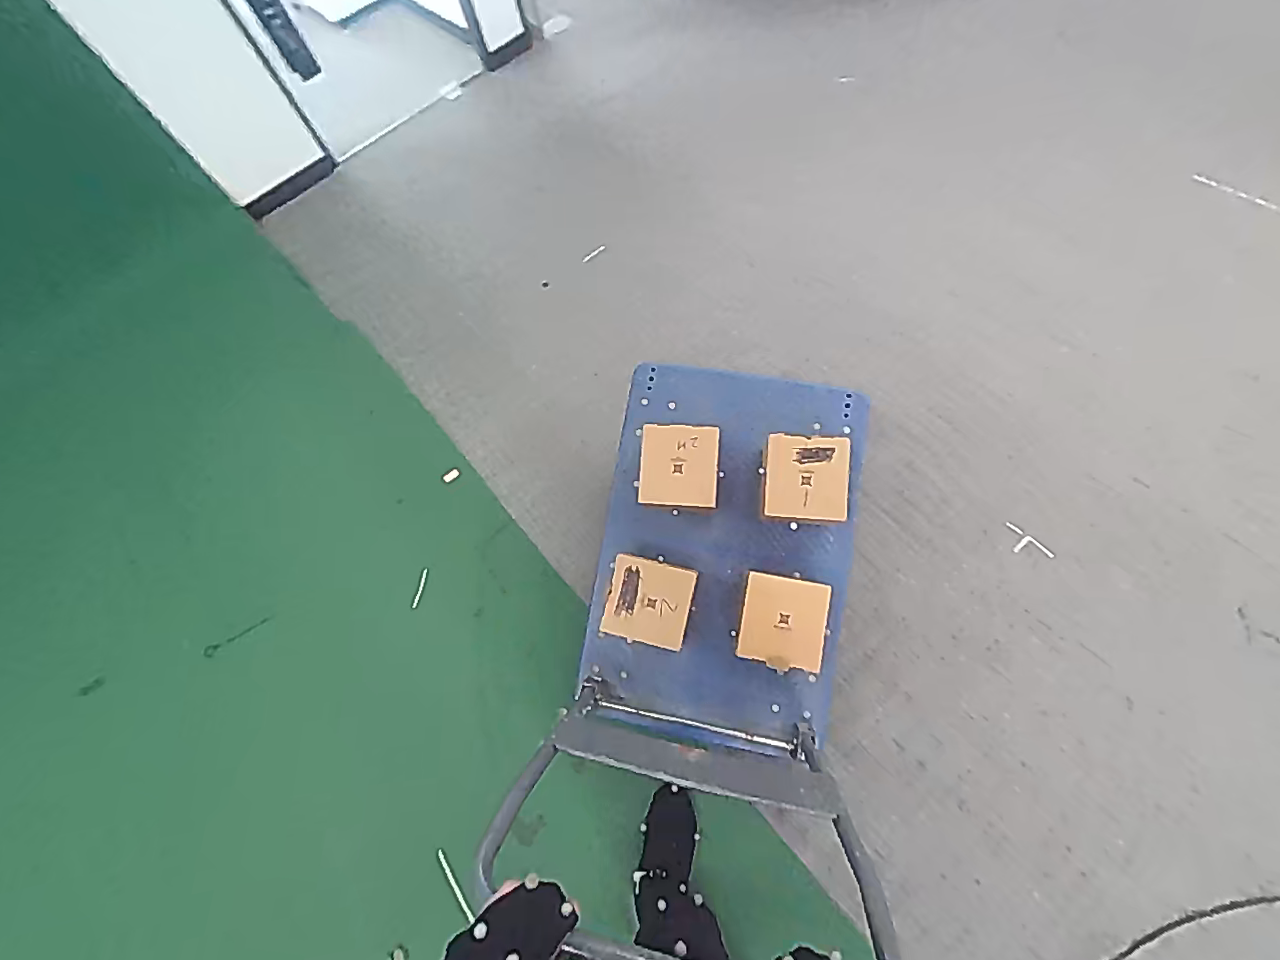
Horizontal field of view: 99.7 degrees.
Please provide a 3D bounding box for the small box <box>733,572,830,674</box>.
[{"bbox_3d":[0.296,0.297,1.165,0.168,0.176,0.179,9,83,9],"label":"small box"}]

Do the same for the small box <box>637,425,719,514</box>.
[{"bbox_3d":[0.092,-0.018,1.236,0.168,0.176,0.179,4,82,7],"label":"small box"}]

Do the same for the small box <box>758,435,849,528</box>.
[{"bbox_3d":[0.355,0.008,1.199,0.168,0.176,0.179,4,83,8],"label":"small box"}]
